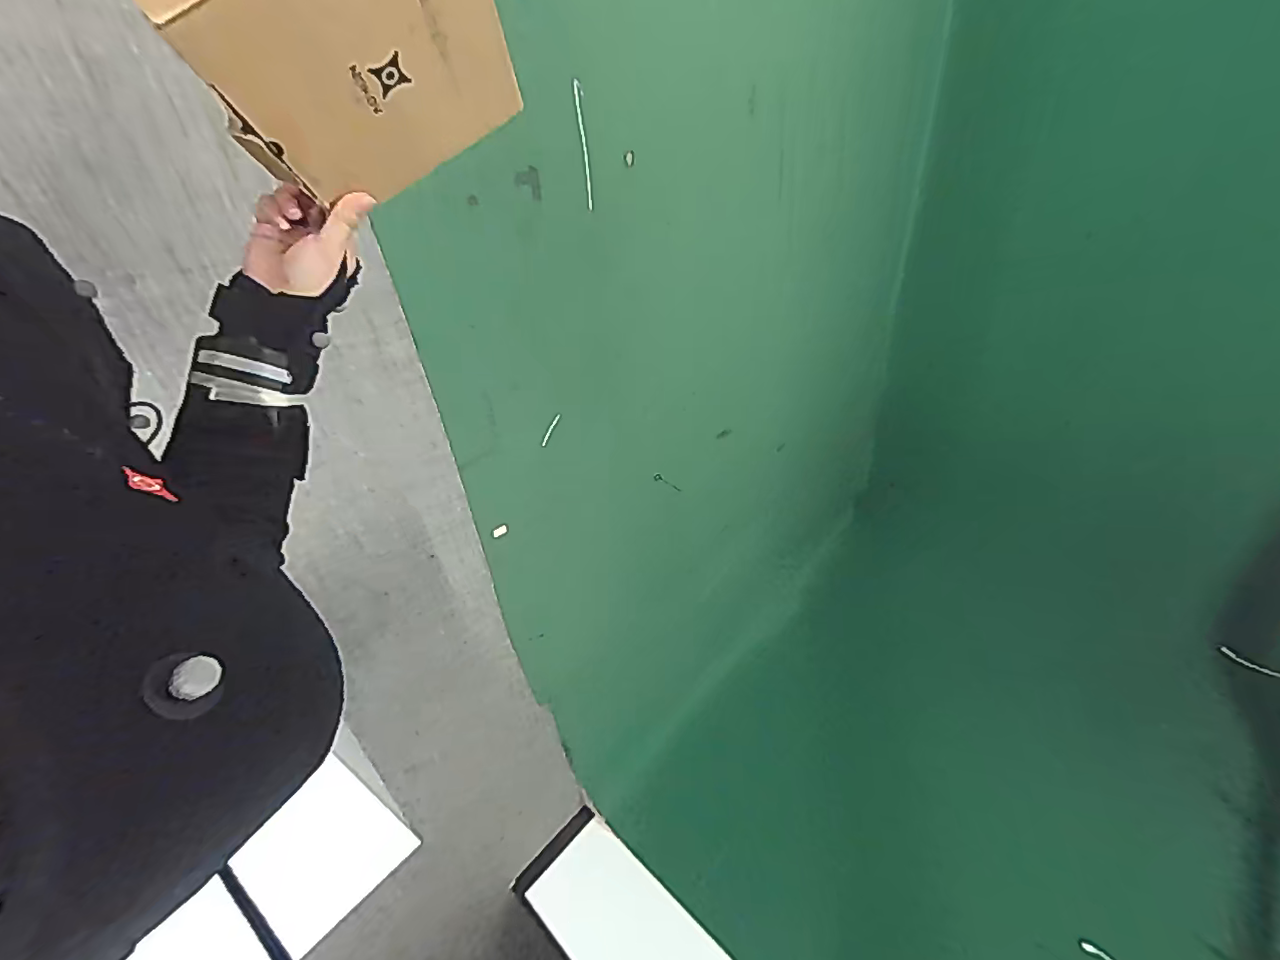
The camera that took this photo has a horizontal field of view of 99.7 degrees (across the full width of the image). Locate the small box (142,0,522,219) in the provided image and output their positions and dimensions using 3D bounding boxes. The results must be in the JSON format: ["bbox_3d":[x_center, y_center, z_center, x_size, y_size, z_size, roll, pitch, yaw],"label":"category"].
[{"bbox_3d":[-0.210,-0.324,0.352,0.179,0.176,0.168,-37,175,-4],"label":"small box"}]
